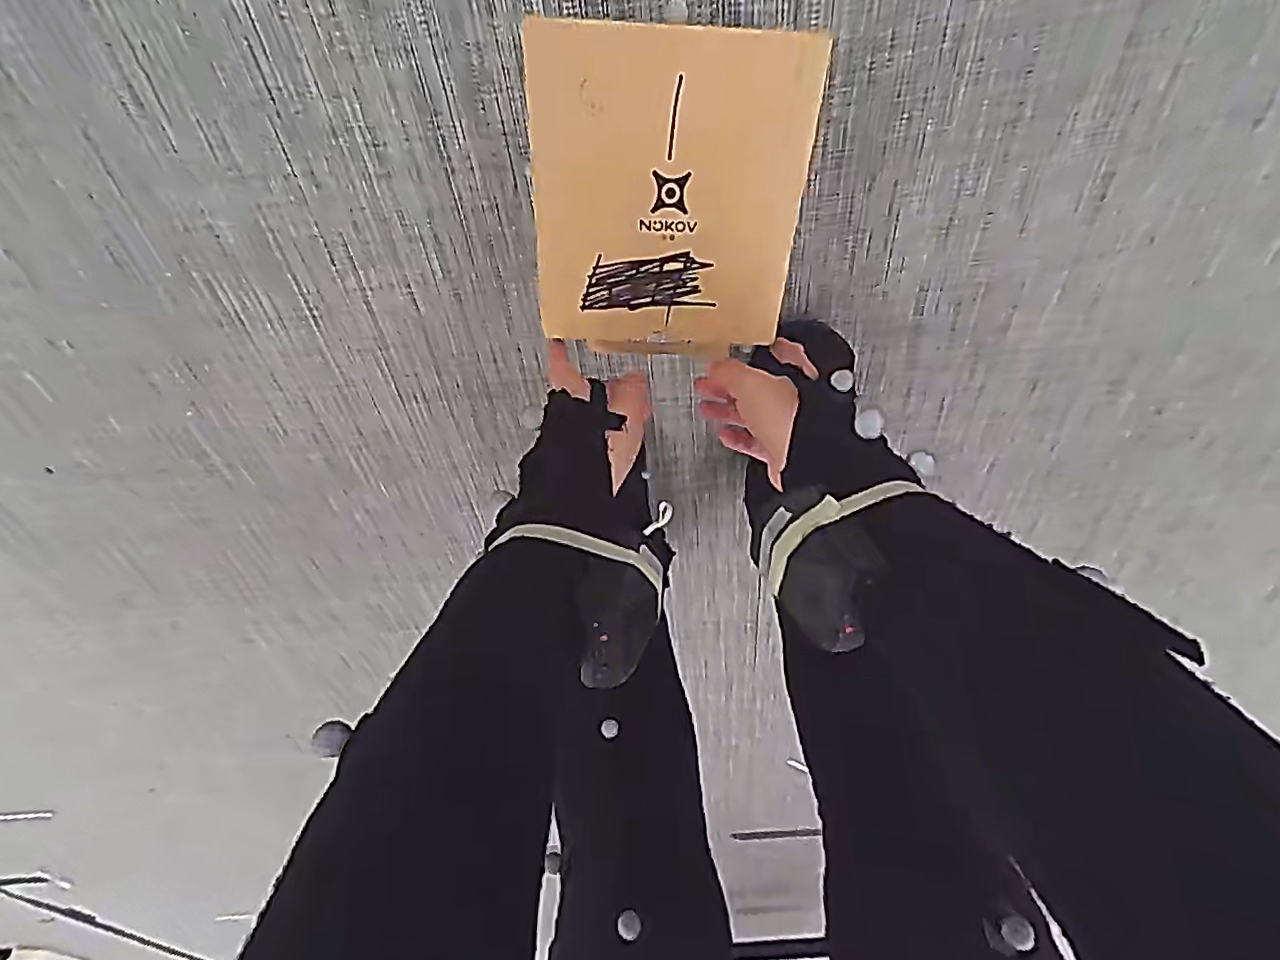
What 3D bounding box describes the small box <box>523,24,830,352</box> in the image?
[{"bbox_3d":[0.015,-0.212,0.395,0.168,0.176,0.179,1,127,-3],"label":"small box"}]
